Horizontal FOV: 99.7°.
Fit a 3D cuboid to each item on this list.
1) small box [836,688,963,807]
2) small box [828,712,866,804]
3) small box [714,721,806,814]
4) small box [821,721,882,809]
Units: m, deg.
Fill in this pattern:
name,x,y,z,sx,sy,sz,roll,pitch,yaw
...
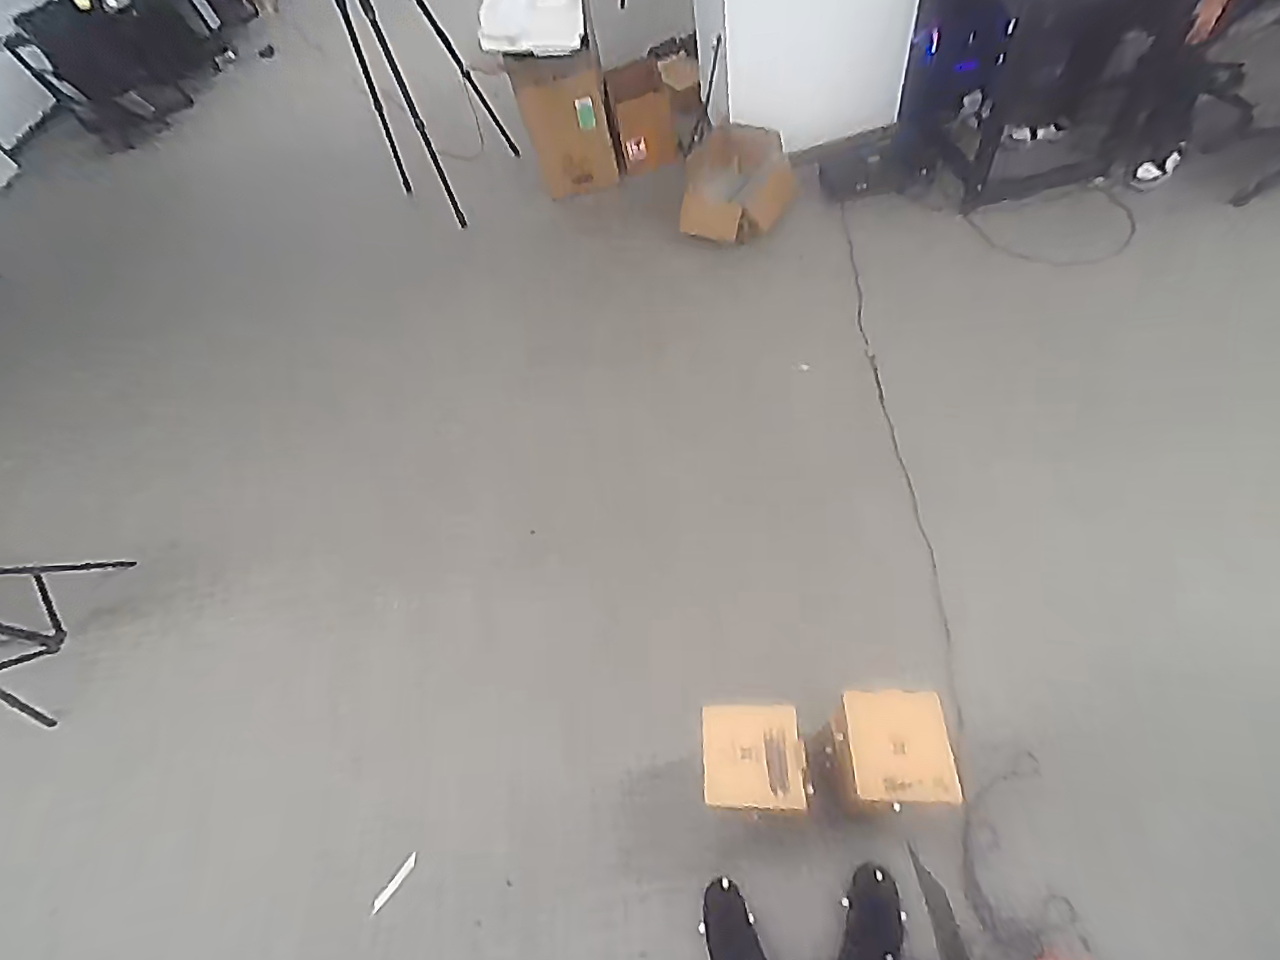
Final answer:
name,x,y,z,sx,sy,sz,roll,pitch,yaw
small box,0.469,0.499,1.007,0.168,0.176,0.179,-4,57,11
small box,0.504,0.583,1.144,0.179,0.176,0.168,-11,56,8
small box,0.256,0.624,1.172,0.179,0.176,0.168,-5,58,11
small box,0.536,0.666,1.278,0.168,0.176,0.179,-12,57,7
